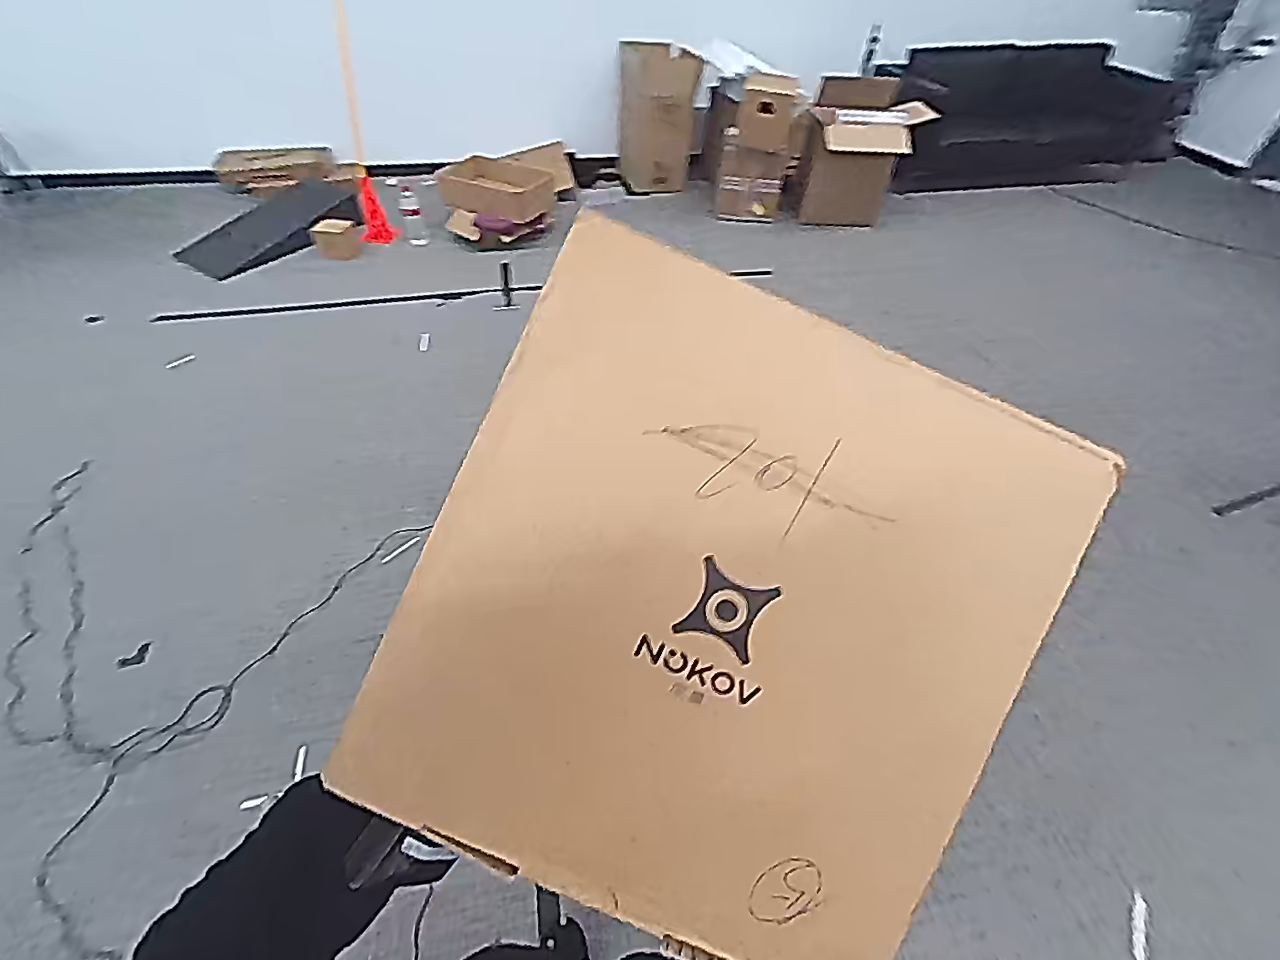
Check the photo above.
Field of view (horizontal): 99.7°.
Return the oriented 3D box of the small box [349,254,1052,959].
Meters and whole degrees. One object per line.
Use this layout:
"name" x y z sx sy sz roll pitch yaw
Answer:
"small box" 0.017 0.042 0.243 0.168 0.176 0.179 23 90 -2
